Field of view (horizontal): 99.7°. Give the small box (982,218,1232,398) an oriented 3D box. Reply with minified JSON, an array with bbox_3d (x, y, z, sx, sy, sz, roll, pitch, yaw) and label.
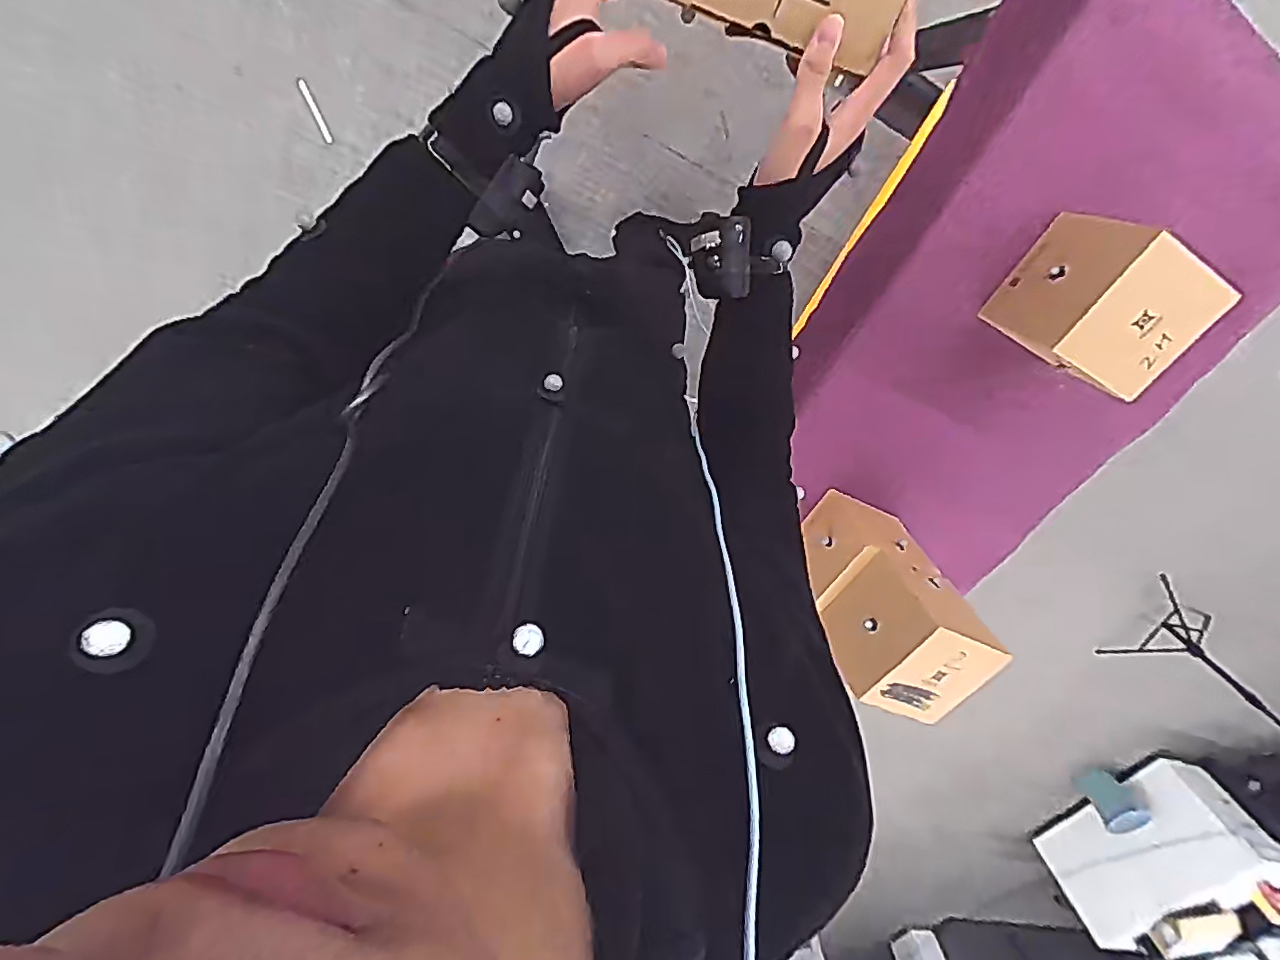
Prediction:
[{"bbox_3d":[0.642,-0.250,0.769,0.179,0.176,0.168,22,119,-19],"label":"small box"}]

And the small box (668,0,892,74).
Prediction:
[{"bbox_3d":[0.107,-0.417,0.366,0.168,0.176,0.179,15,133,-9],"label":"small box"}]

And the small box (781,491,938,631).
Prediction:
[{"bbox_3d":[0.391,0.144,1.001,0.179,0.176,0.168,21,118,-20],"label":"small box"}]
